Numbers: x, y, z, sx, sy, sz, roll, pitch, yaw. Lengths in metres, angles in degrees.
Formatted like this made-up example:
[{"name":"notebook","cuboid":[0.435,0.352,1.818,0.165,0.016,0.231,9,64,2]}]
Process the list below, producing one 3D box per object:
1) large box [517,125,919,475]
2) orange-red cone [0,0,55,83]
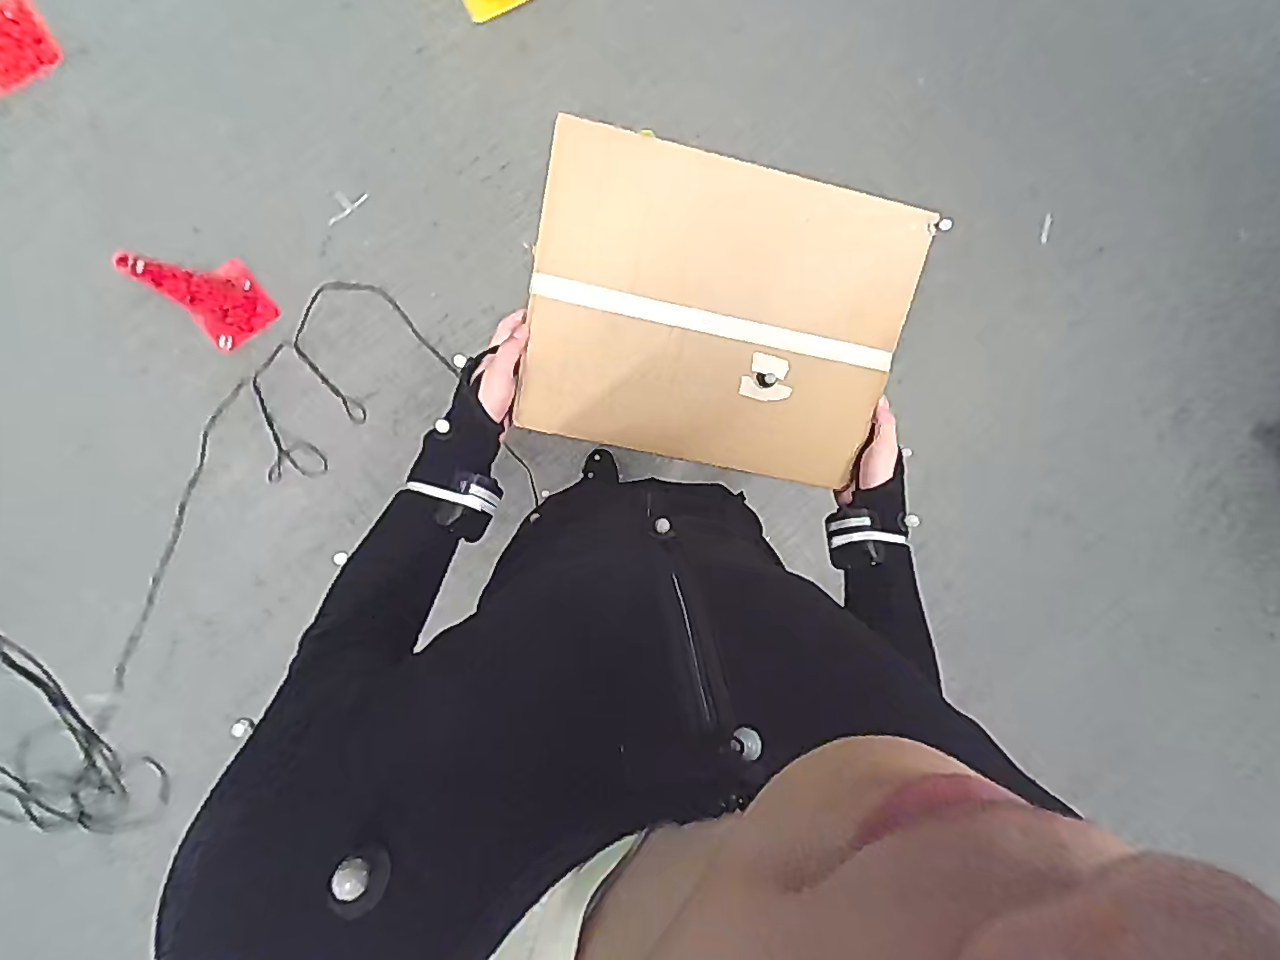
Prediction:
[{"name":"large box","cuboid":[0.066,-0.219,0.733,0.408,0.320,0.320,9,107,-8]},{"name":"orange-red cone","cuboid":[-1.673,-1.169,1.264,0.199,0.360,0.198,-30,94,-1]}]
